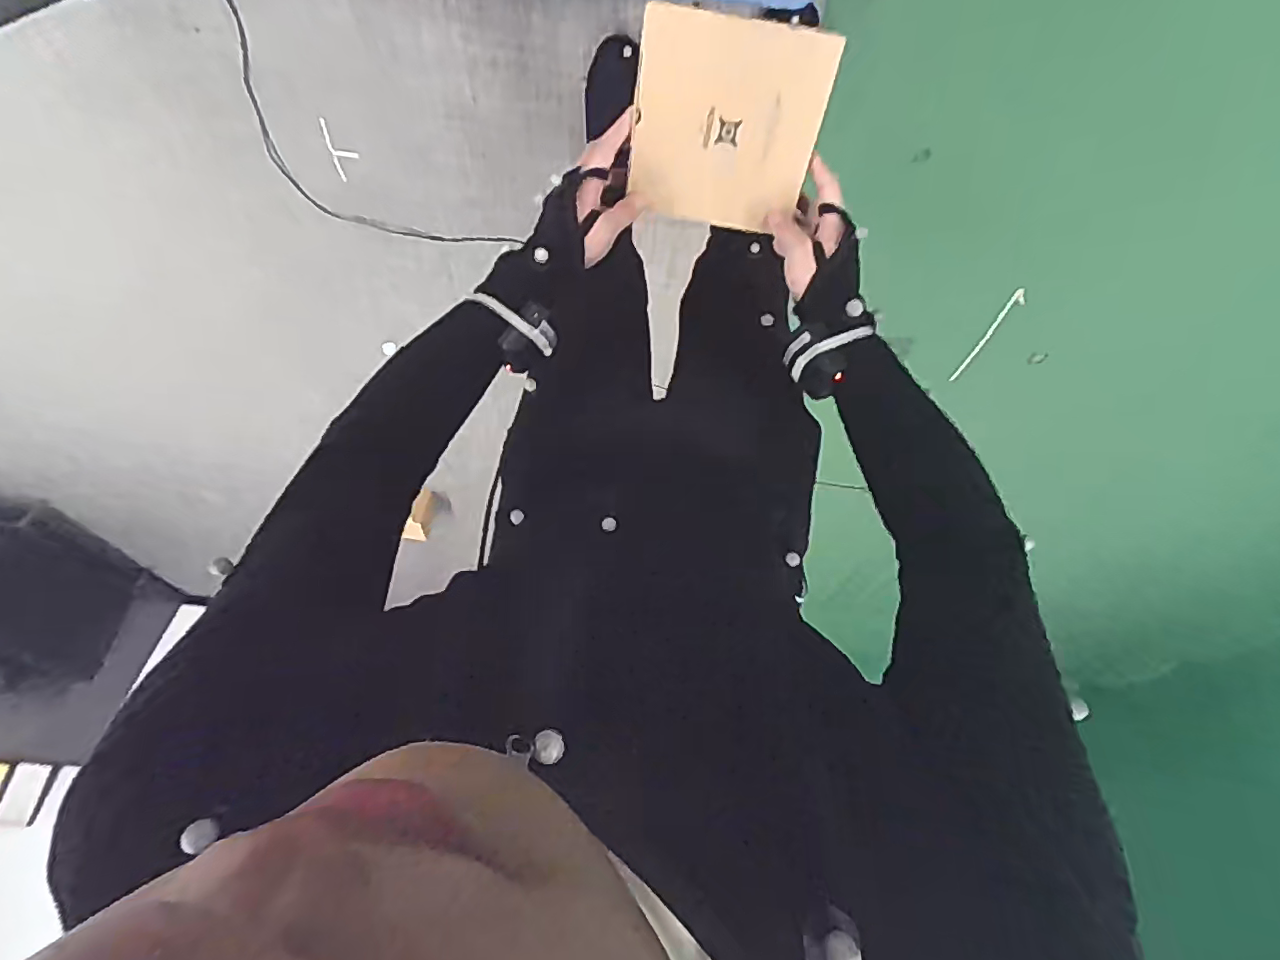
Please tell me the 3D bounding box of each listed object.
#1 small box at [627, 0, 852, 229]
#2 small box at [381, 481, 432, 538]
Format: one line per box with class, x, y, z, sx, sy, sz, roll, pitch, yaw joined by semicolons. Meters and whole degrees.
small box;0.091;-0.388;0.566;0.179;0.176;0.168;9;132;-2
small box;-1.019;0.131;2.374;0.168;0.176;0.179;12;144;-11
